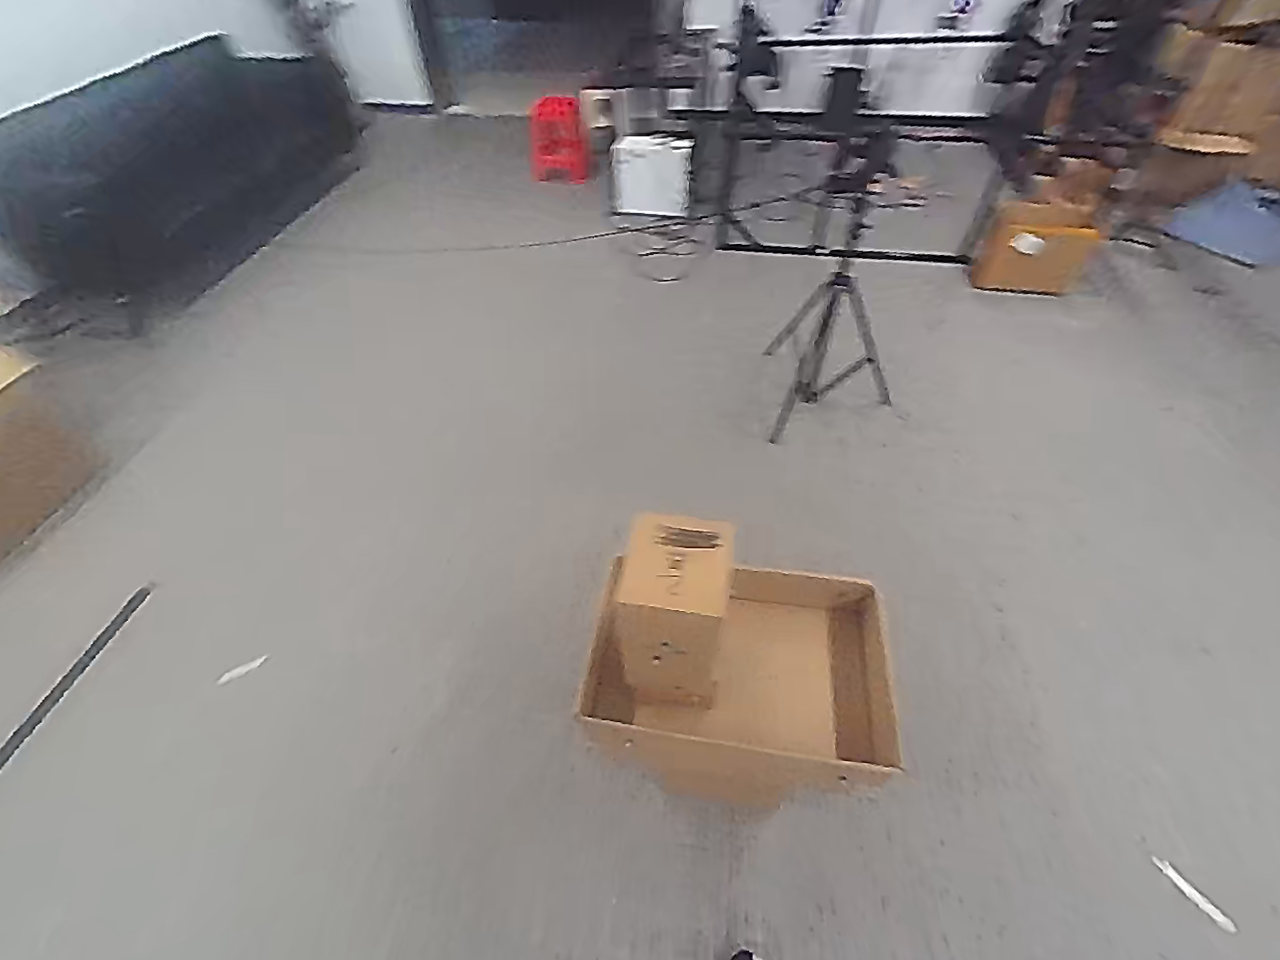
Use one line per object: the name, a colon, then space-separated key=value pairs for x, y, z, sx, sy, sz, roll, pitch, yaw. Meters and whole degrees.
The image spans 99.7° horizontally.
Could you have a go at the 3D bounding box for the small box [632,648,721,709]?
small box: x=0.080 y=0.382 z=1.169 sx=0.179 sy=0.176 sz=0.168 roll=2 pitch=48 yaw=5

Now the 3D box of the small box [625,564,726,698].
small box: x=0.069 y=0.289 z=1.035 sx=0.168 sy=0.176 sz=0.179 roll=6 pitch=48 yaw=9
